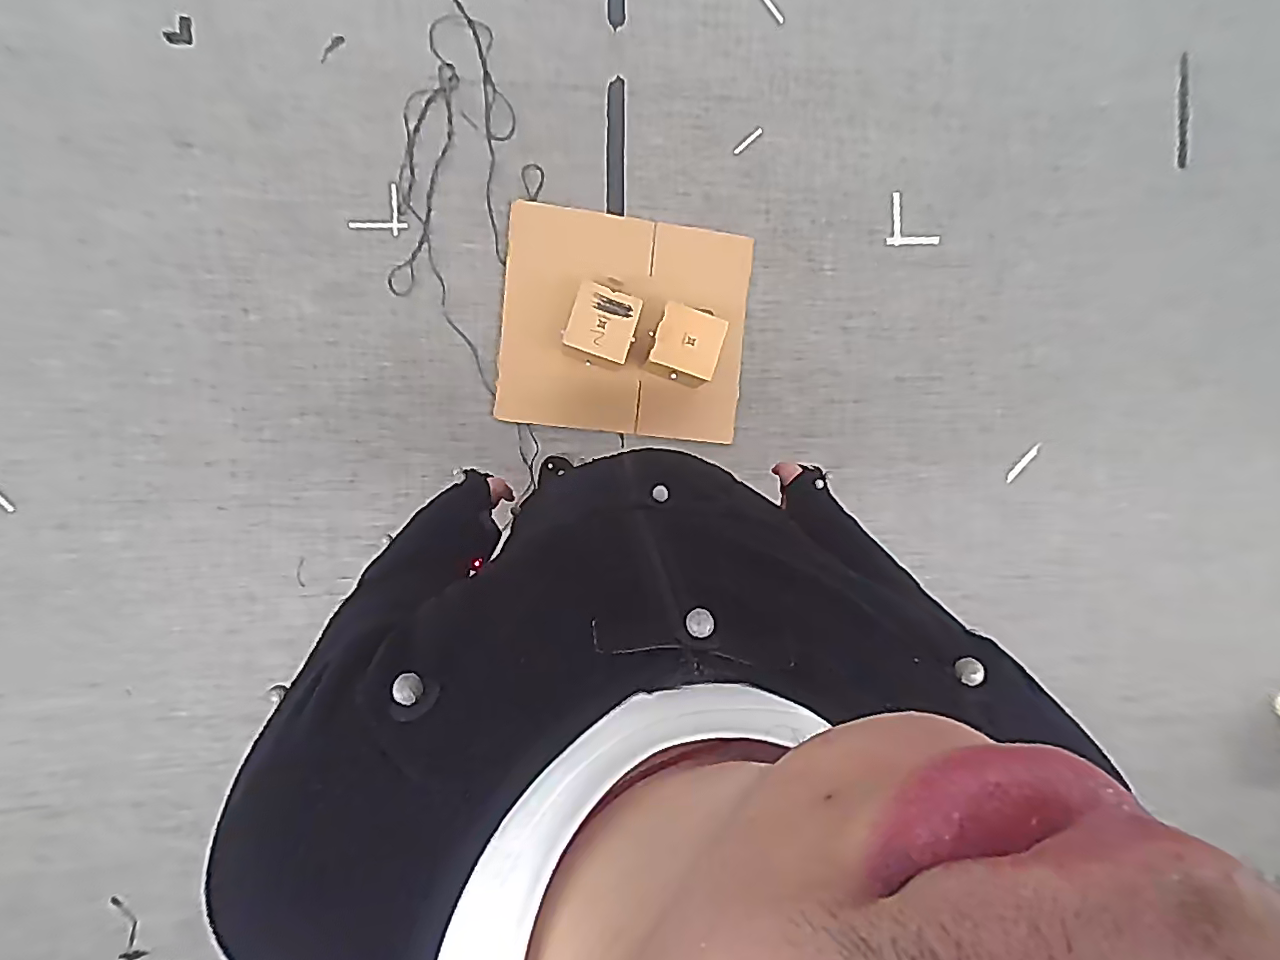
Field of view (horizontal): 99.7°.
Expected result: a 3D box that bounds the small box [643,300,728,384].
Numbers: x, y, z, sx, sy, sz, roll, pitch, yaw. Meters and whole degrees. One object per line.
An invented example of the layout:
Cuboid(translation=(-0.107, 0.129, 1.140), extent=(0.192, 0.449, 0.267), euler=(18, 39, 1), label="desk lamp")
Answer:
Cuboid(translation=(0.120, -0.373, 1.502), extent=(0.179, 0.176, 0.168), euler=(18, 91, -7), label="small box")
